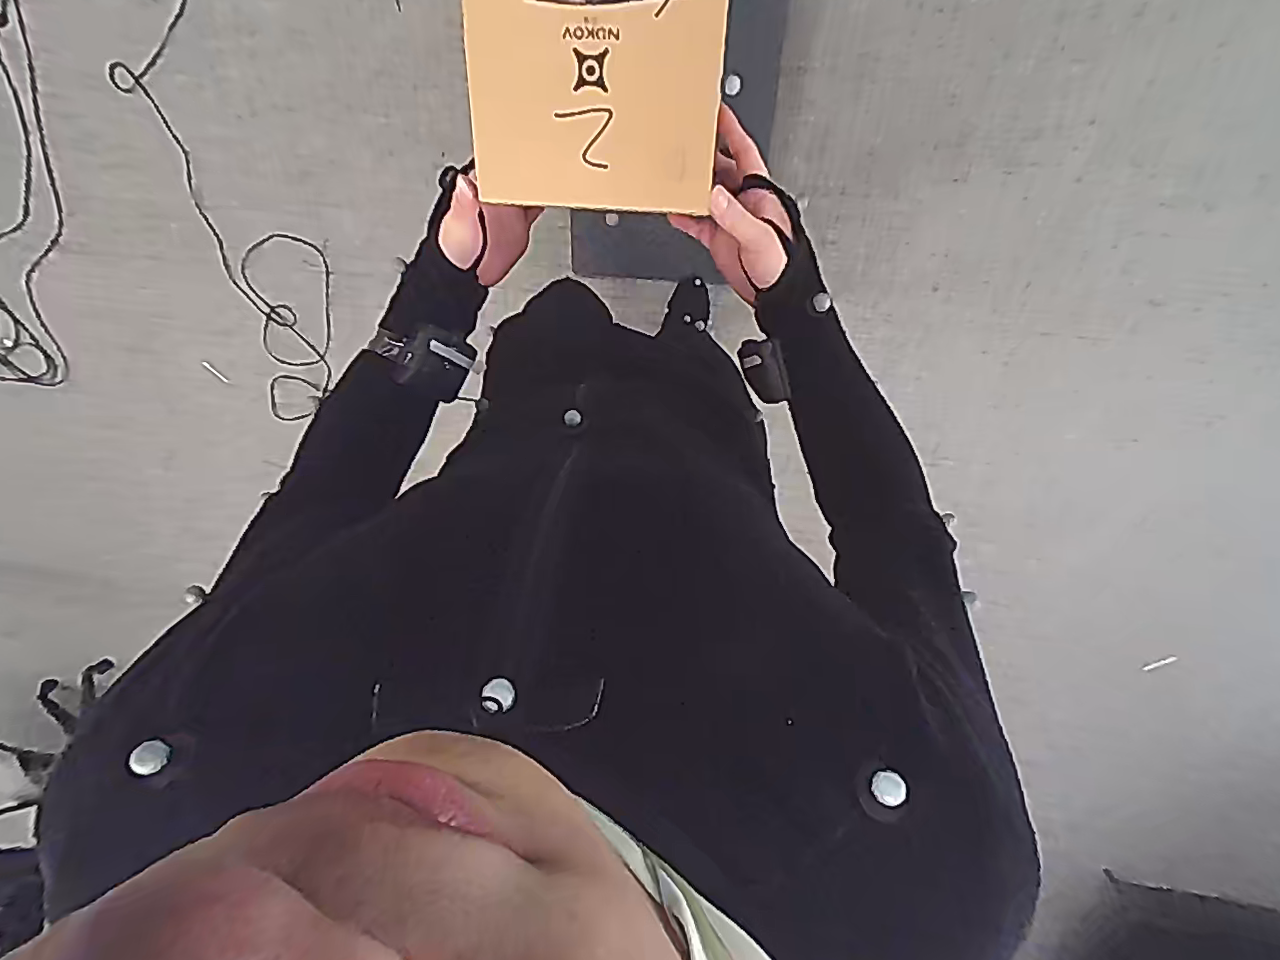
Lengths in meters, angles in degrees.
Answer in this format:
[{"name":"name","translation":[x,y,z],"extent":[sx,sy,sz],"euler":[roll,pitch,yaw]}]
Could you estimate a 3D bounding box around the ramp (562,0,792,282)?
[{"name":"ramp","translation":[0.073,-0.959,1.177],"extent":[0.509,0.206,0.991],"euler":[4,113,5]}]
